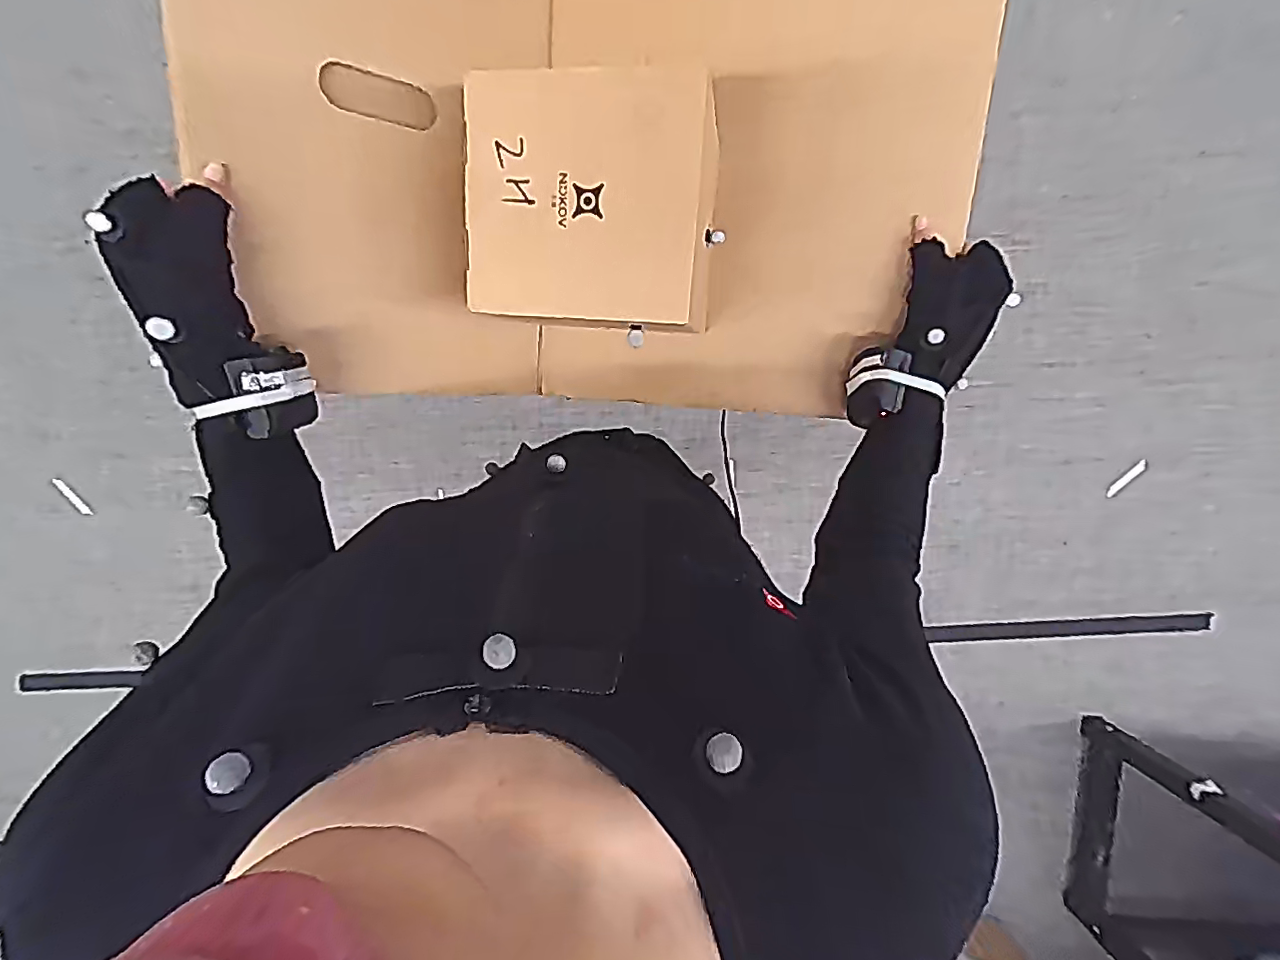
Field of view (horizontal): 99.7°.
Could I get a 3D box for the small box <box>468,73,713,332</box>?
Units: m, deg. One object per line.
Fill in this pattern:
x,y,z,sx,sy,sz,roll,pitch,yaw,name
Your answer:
-0.031,-0.222,0.474,0.179,0.176,0.168,6,103,9,small box
